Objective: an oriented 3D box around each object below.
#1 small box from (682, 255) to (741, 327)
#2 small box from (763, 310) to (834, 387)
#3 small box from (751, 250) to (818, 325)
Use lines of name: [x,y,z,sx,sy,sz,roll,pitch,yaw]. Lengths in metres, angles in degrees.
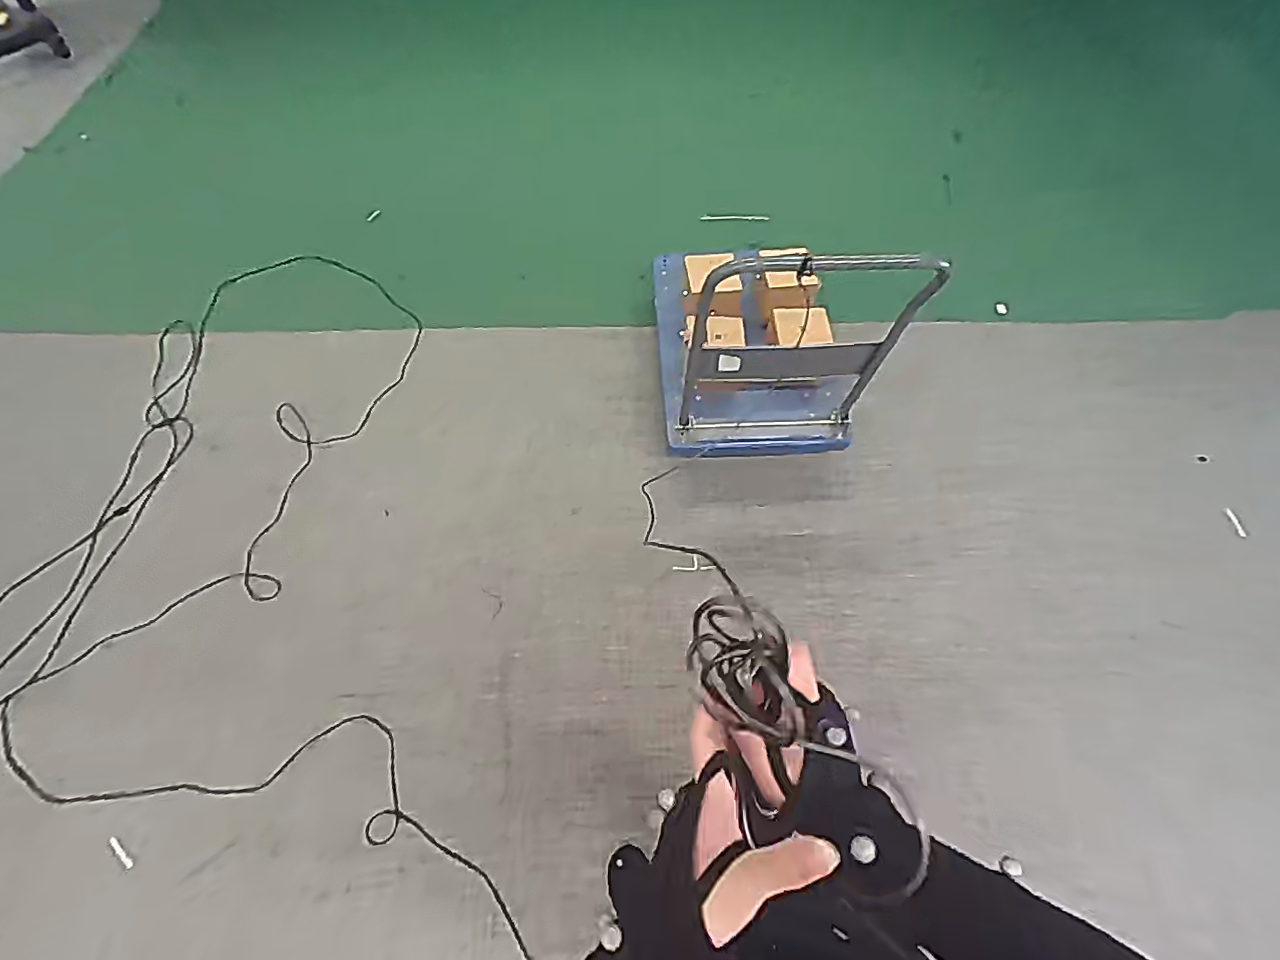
small box: [0.237,-0.634,1.834,0.168,0.176,0.179,-4,62,-4]
small box: [0.497,-0.419,1.722,0.168,0.176,0.179,-1,62,-1]
small box: [0.488,-0.657,1.850,0.168,0.176,0.179,-5,63,-3]
